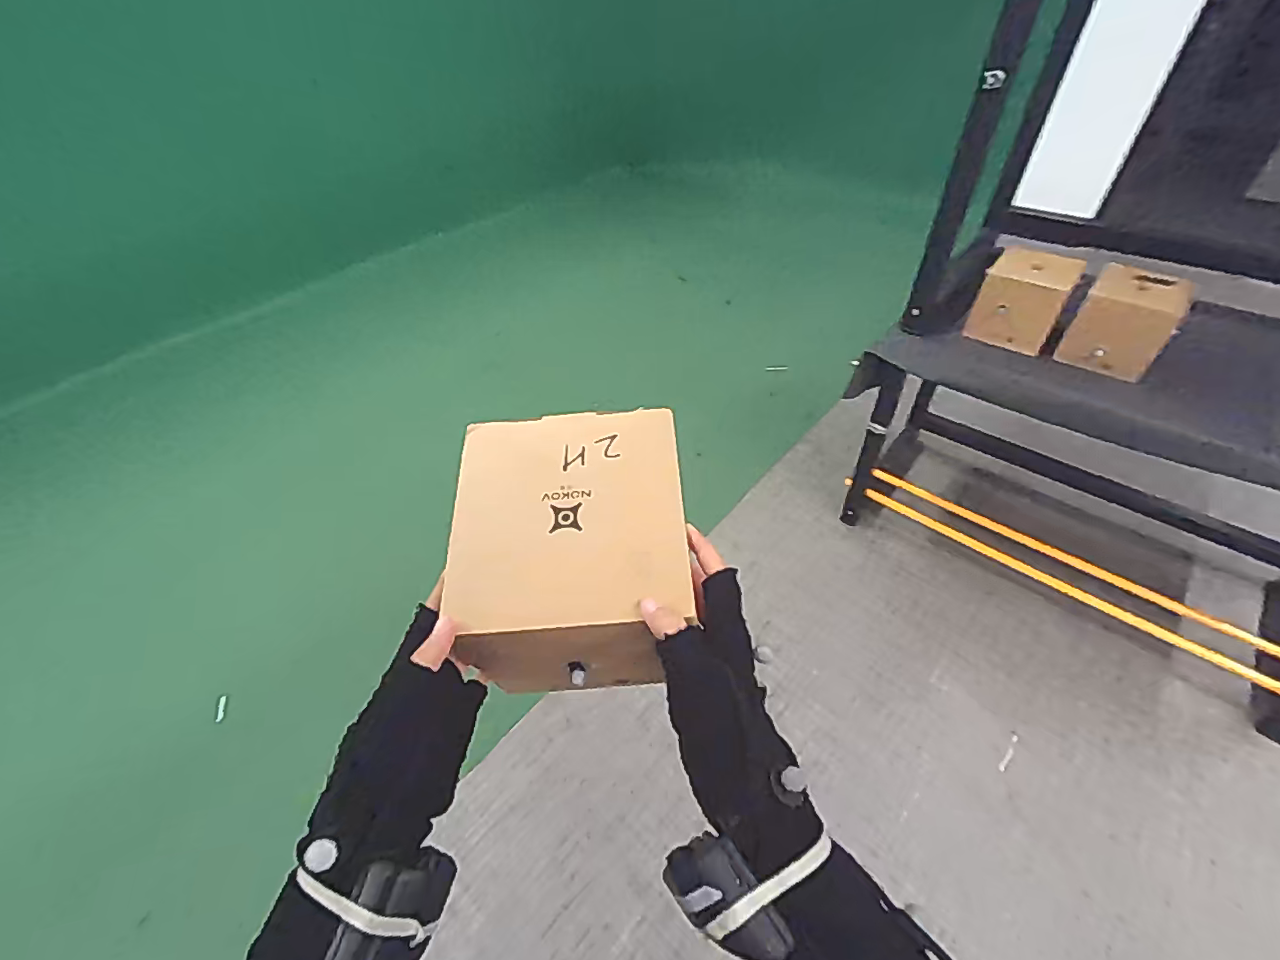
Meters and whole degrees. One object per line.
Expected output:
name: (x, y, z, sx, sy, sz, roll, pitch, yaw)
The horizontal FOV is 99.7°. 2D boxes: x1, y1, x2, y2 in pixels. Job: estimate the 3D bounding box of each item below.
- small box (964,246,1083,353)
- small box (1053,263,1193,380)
small box: (0.905, -0.429, 1.290, 0.168, 0.176, 0.179, 29, 54, 28)
small box: (1.062, -0.353, 1.200, 0.168, 0.176, 0.179, 29, 55, 30)
